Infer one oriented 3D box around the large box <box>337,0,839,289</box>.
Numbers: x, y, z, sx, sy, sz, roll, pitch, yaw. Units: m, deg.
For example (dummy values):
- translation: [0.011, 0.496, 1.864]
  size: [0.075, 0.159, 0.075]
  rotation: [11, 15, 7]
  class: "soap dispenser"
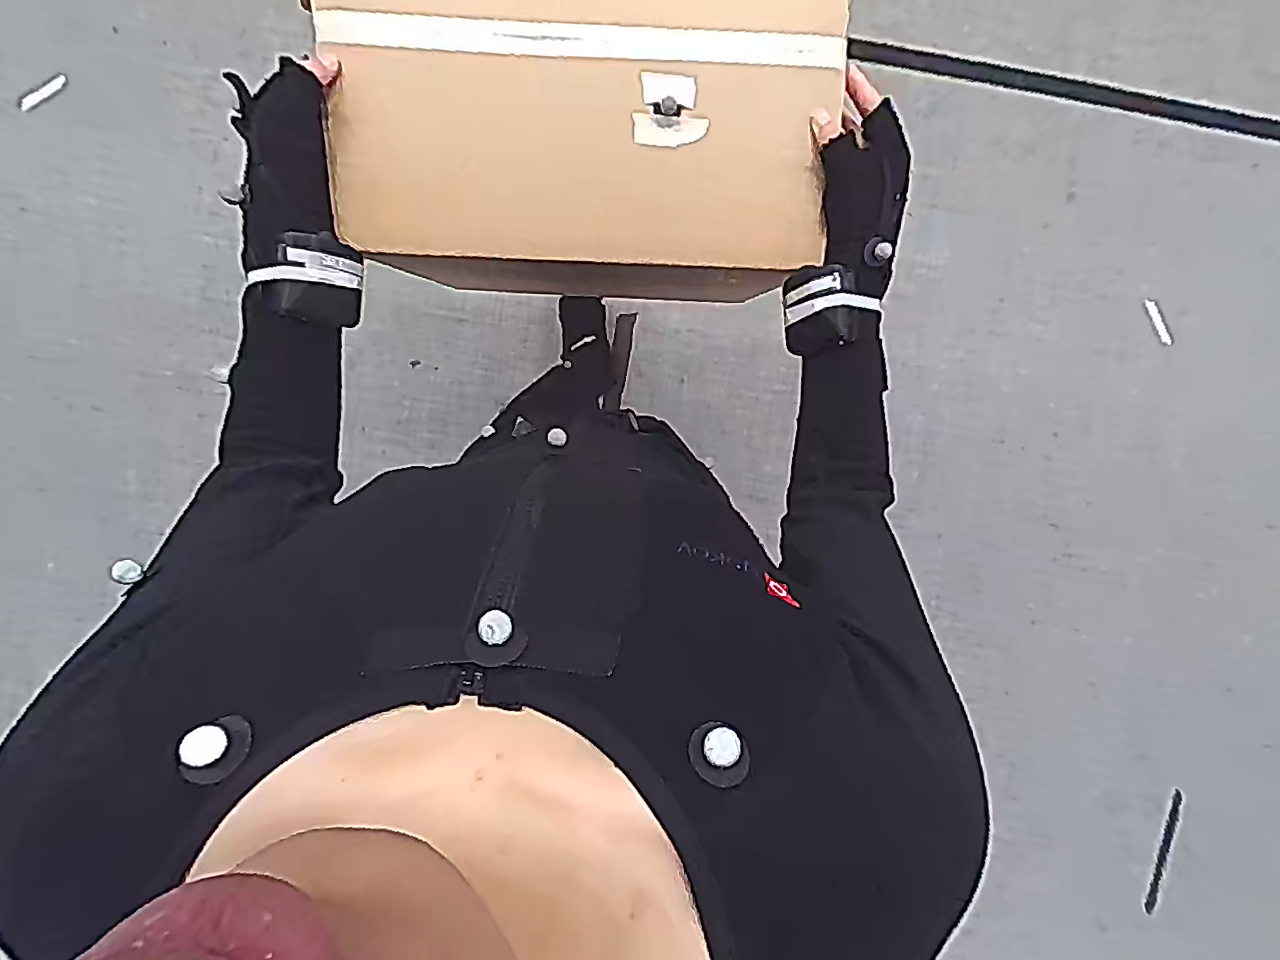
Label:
- translation: [-0.046, -0.384, 0.577]
  size: [0.408, 0.320, 0.320]
  rotation: [1, 104, -2]
  class: "large box"
